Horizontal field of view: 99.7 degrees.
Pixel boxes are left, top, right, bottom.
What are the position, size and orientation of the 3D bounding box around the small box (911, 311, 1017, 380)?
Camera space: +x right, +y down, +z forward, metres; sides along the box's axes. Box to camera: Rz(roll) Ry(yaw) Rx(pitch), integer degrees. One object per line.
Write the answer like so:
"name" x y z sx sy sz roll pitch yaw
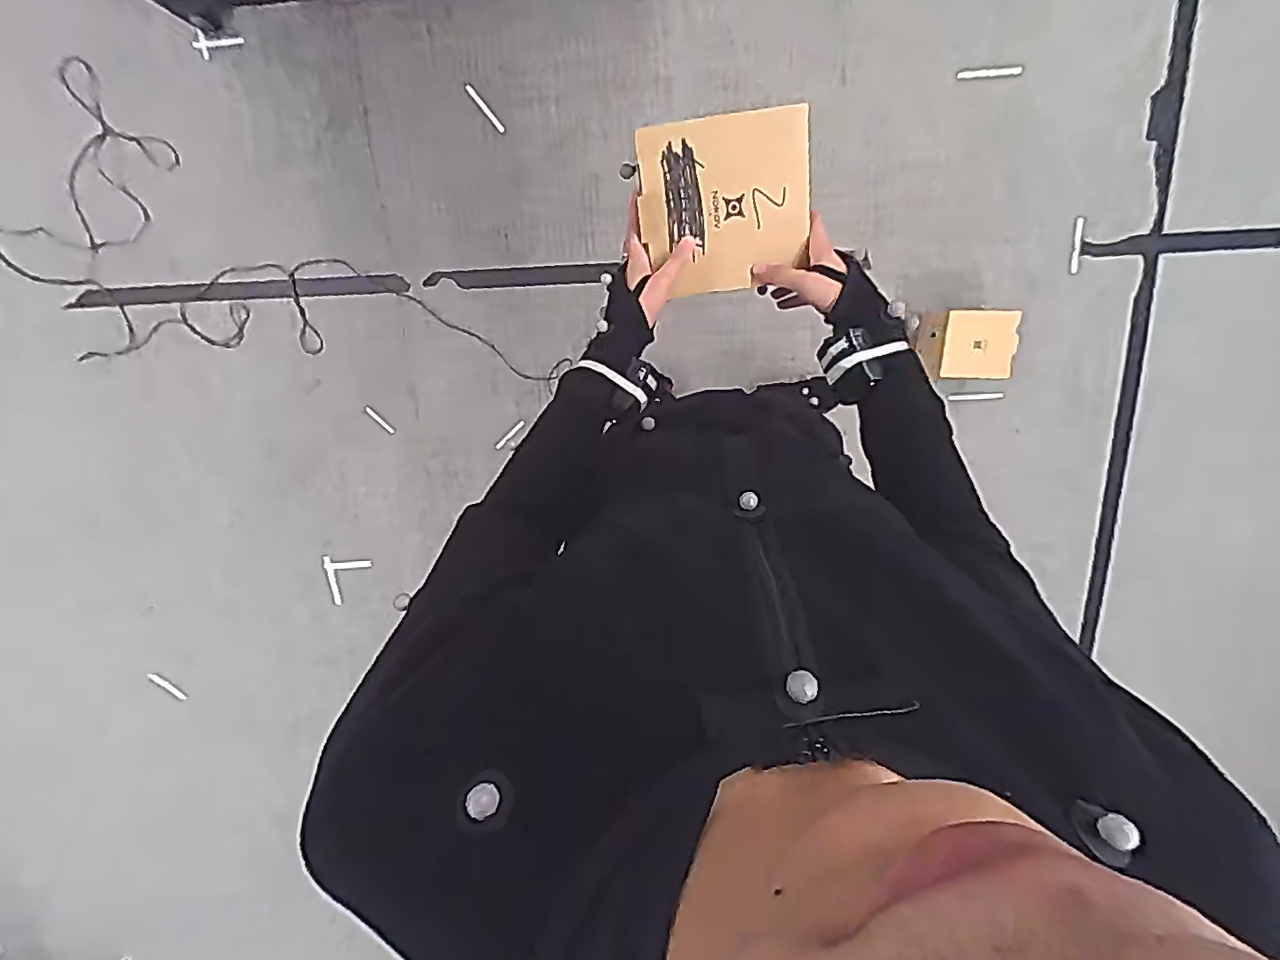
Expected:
"small box" 0.846 -0.357 1.435 0.179 0.176 0.168 1 105 2
